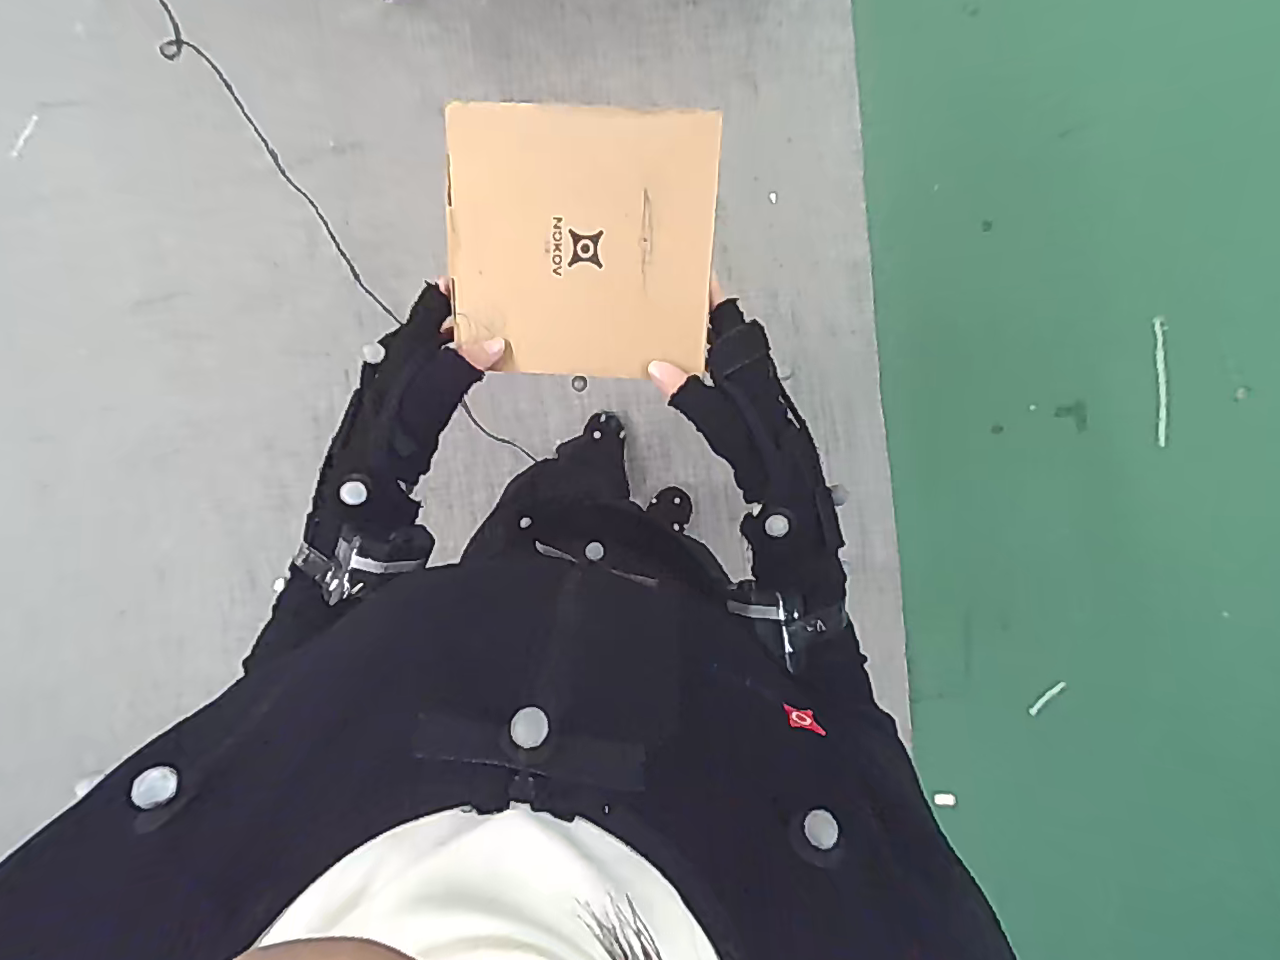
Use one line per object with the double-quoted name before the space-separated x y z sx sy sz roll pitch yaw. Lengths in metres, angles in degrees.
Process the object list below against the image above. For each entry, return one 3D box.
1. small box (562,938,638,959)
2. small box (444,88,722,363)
"small box" -0.092 1.121 1.144 0.168 0.176 0.179 -2 93 6
"small box" -0.034 -0.183 0.431 0.179 0.176 0.168 2 107 2
